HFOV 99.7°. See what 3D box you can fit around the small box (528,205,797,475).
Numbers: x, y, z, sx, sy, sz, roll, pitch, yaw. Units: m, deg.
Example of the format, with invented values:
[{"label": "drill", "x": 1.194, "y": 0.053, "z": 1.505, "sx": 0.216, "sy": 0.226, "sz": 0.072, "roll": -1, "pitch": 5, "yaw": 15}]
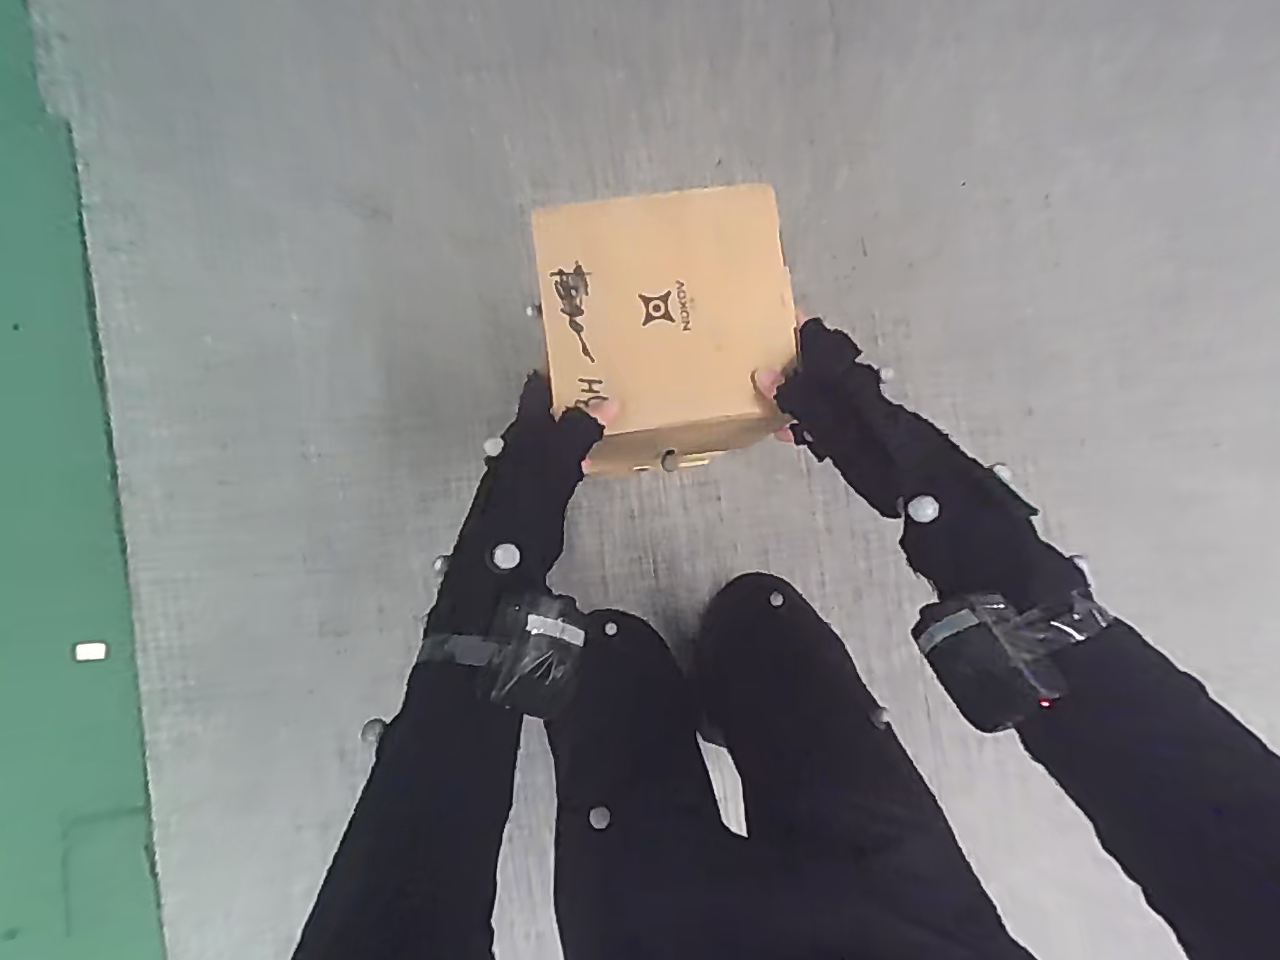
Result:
[{"label": "small box", "x": 0.012, "y": -0.100, "z": 0.457, "sx": 0.179, "sy": 0.176, "sz": 0.168, "roll": -7, "pitch": 85, "yaw": -2}]
